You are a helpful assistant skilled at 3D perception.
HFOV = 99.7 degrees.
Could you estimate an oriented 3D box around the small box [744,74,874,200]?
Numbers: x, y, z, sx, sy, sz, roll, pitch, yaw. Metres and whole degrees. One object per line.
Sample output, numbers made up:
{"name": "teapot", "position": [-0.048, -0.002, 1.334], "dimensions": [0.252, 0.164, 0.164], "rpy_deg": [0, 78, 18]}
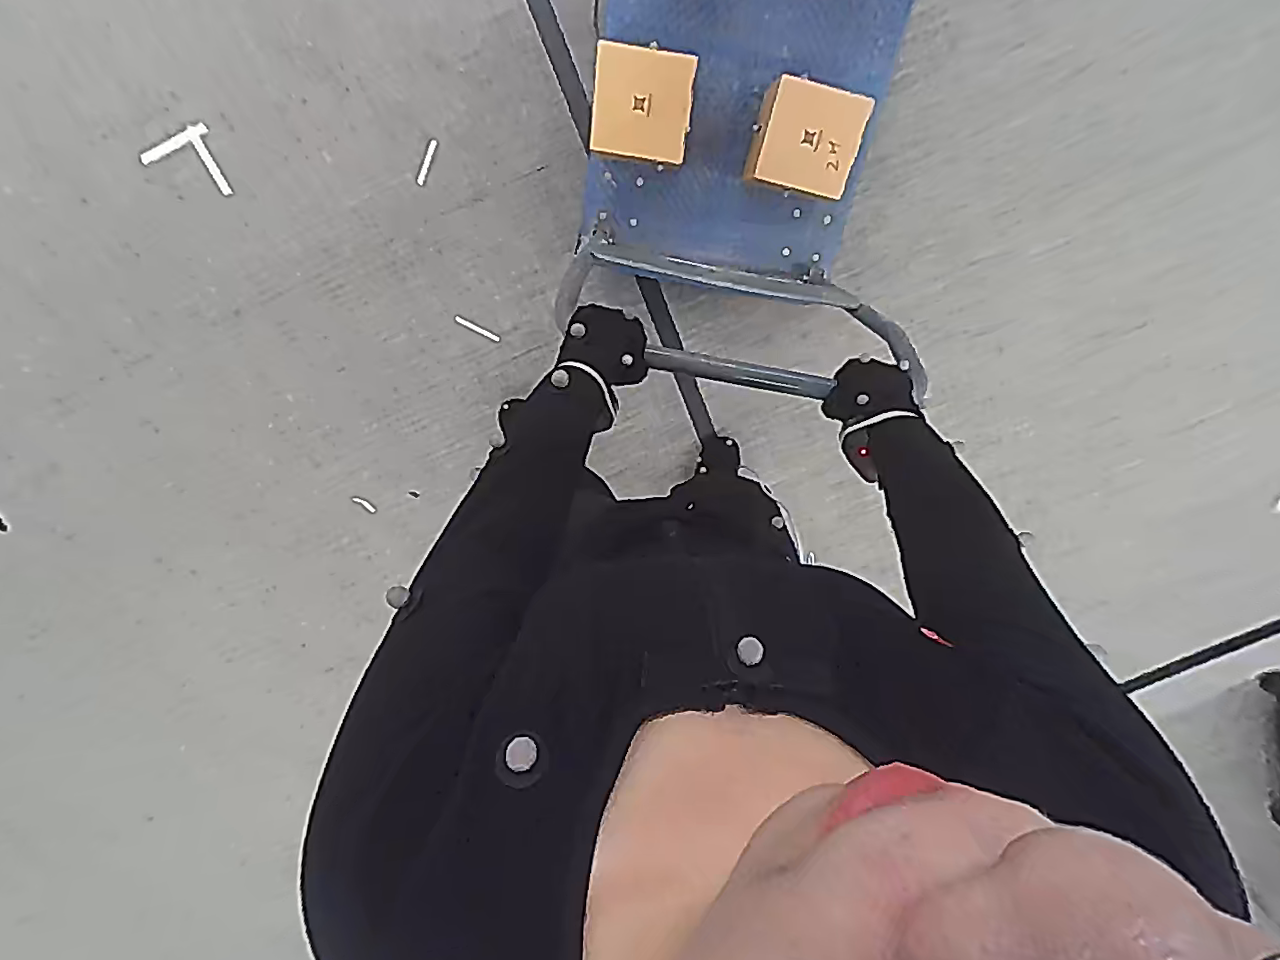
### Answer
{"name": "small box", "position": [0.315, -0.655, 1.056], "dimensions": [0.179, 0.176, 0.168], "rpy_deg": [13, 117, -5]}

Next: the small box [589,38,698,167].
{"name": "small box", "position": [0.003, -0.708, 1.035], "dimensions": [0.179, 0.176, 0.168], "rpy_deg": [7, 116, -5]}
